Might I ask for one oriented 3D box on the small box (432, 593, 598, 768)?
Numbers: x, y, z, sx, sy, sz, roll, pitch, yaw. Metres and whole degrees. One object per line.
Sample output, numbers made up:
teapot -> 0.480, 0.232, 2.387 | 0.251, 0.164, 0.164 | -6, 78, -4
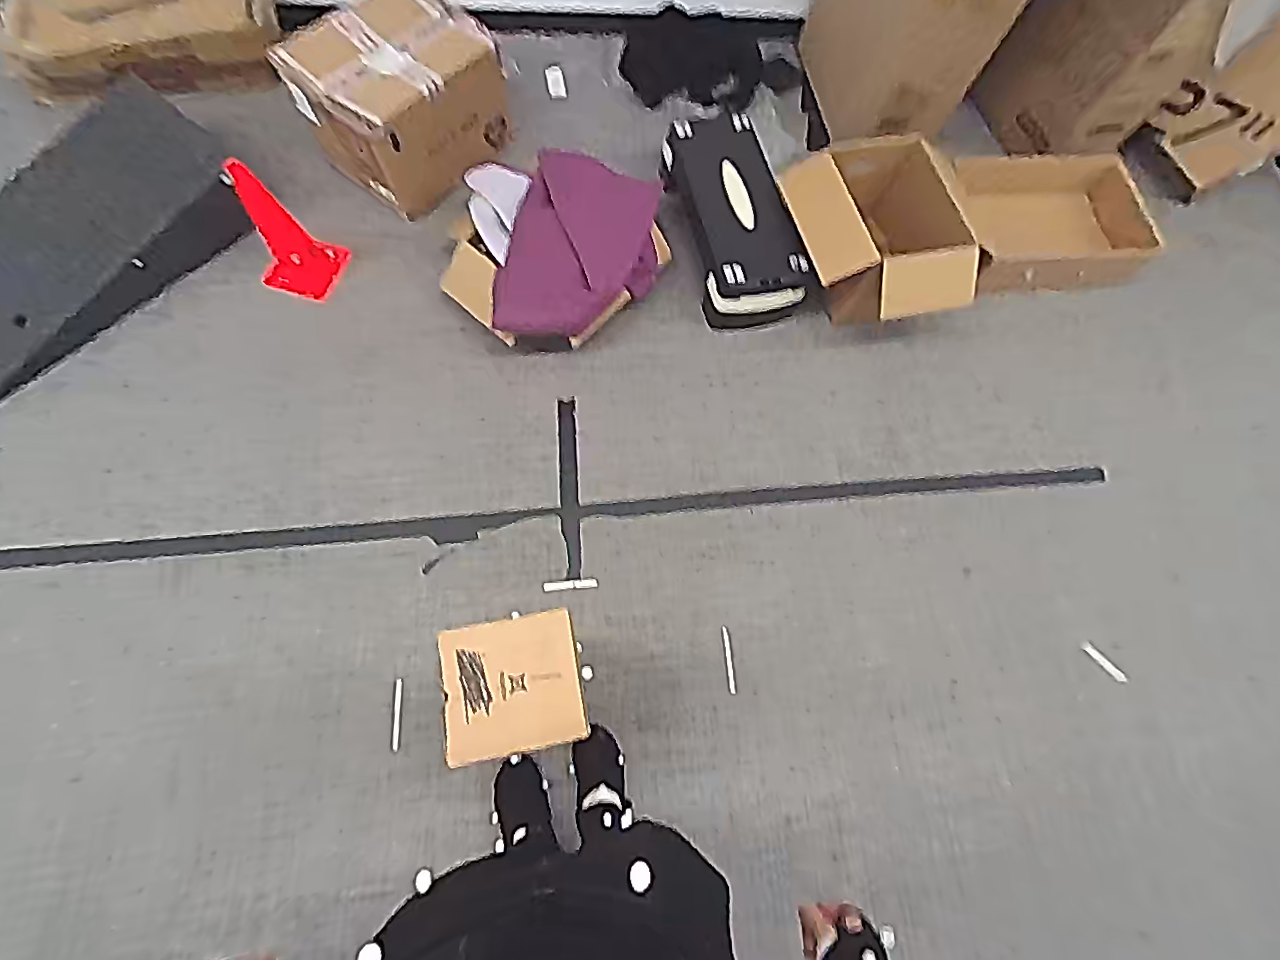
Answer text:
small box -> -0.151, 0.252, 0.694 | 0.179, 0.176, 0.168 | -9, 72, -9
